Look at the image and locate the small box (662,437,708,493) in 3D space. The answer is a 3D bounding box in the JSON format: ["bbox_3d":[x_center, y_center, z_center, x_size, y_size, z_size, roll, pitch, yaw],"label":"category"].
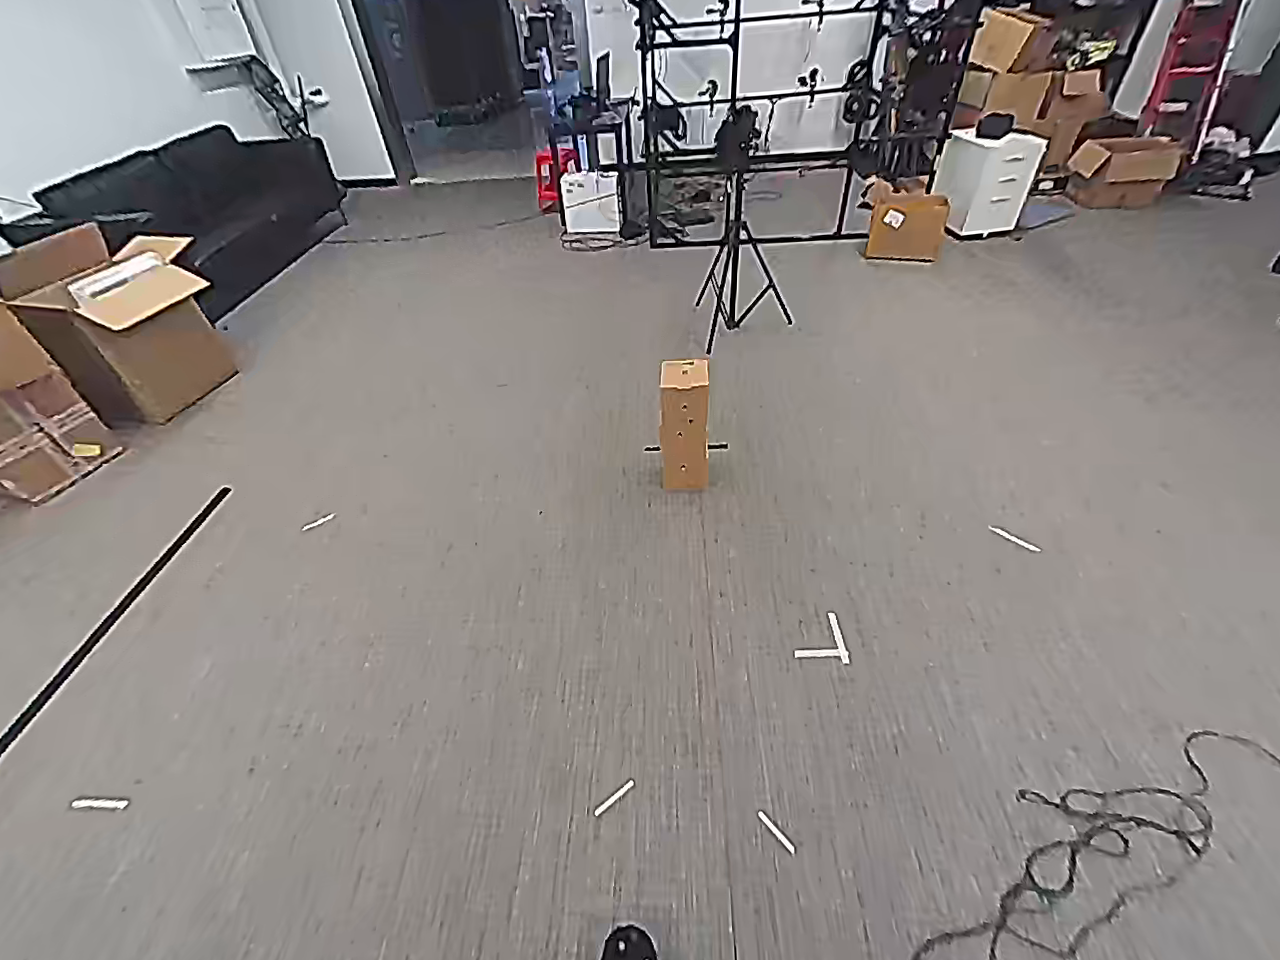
[{"bbox_3d":[0.178,-0.062,2.170,0.179,0.176,0.168,-2,43,4],"label":"small box"}]

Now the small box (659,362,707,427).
[{"bbox_3d":[0.158,-0.304,1.948,0.168,0.176,0.179,0,43,5],"label":"small box"}]

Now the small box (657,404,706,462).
[{"bbox_3d":[0.160,-0.181,2.057,0.179,0.176,0.168,0,44,6],"label":"small box"}]
